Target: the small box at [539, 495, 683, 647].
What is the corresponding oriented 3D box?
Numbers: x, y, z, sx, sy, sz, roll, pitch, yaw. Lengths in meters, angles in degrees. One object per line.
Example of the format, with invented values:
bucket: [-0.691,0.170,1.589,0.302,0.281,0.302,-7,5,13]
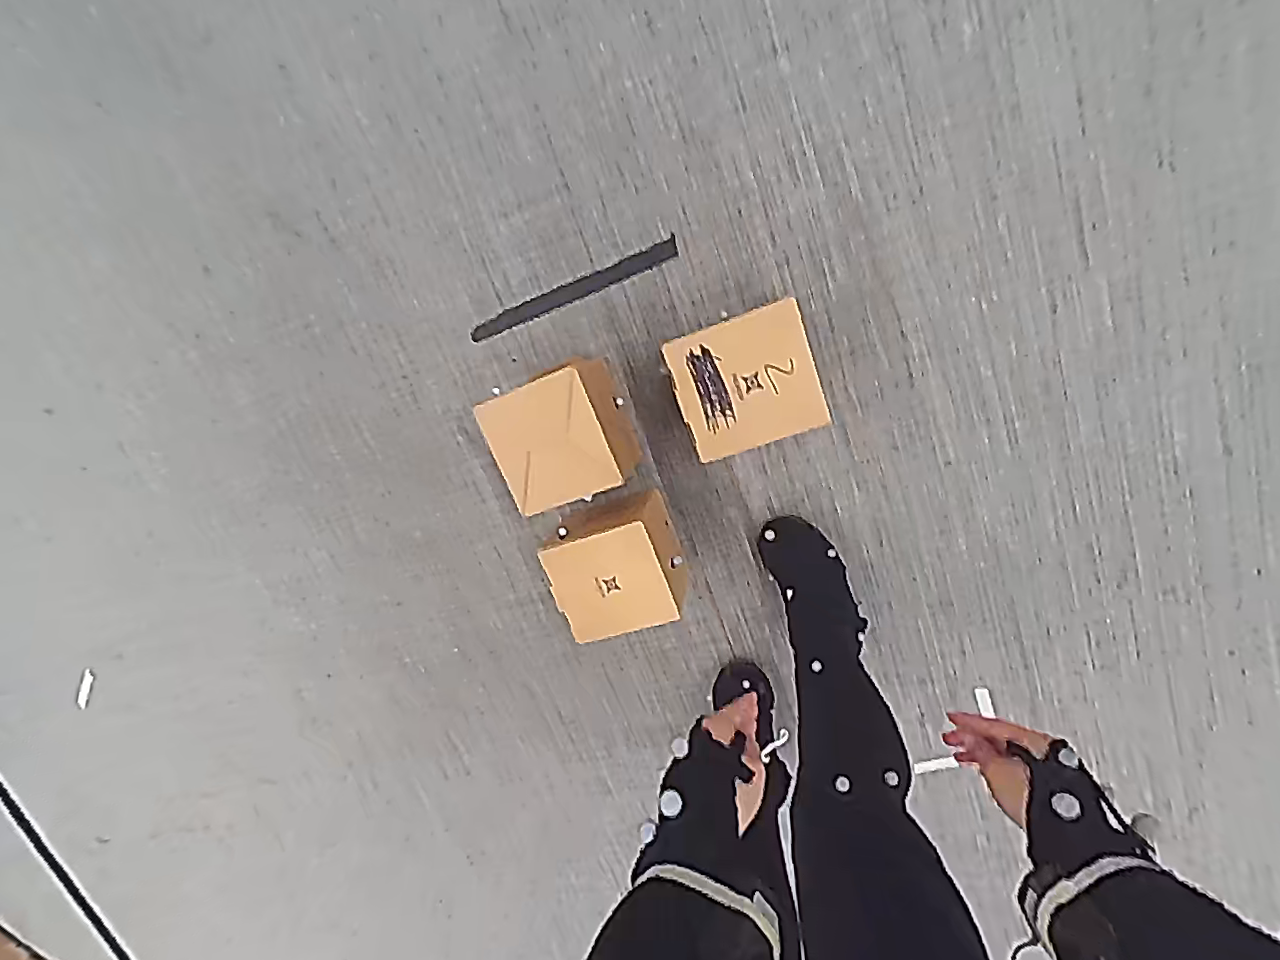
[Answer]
small box: [-0.034,0.140,0.882,0.179,0.176,0.168,-18,102,15]
